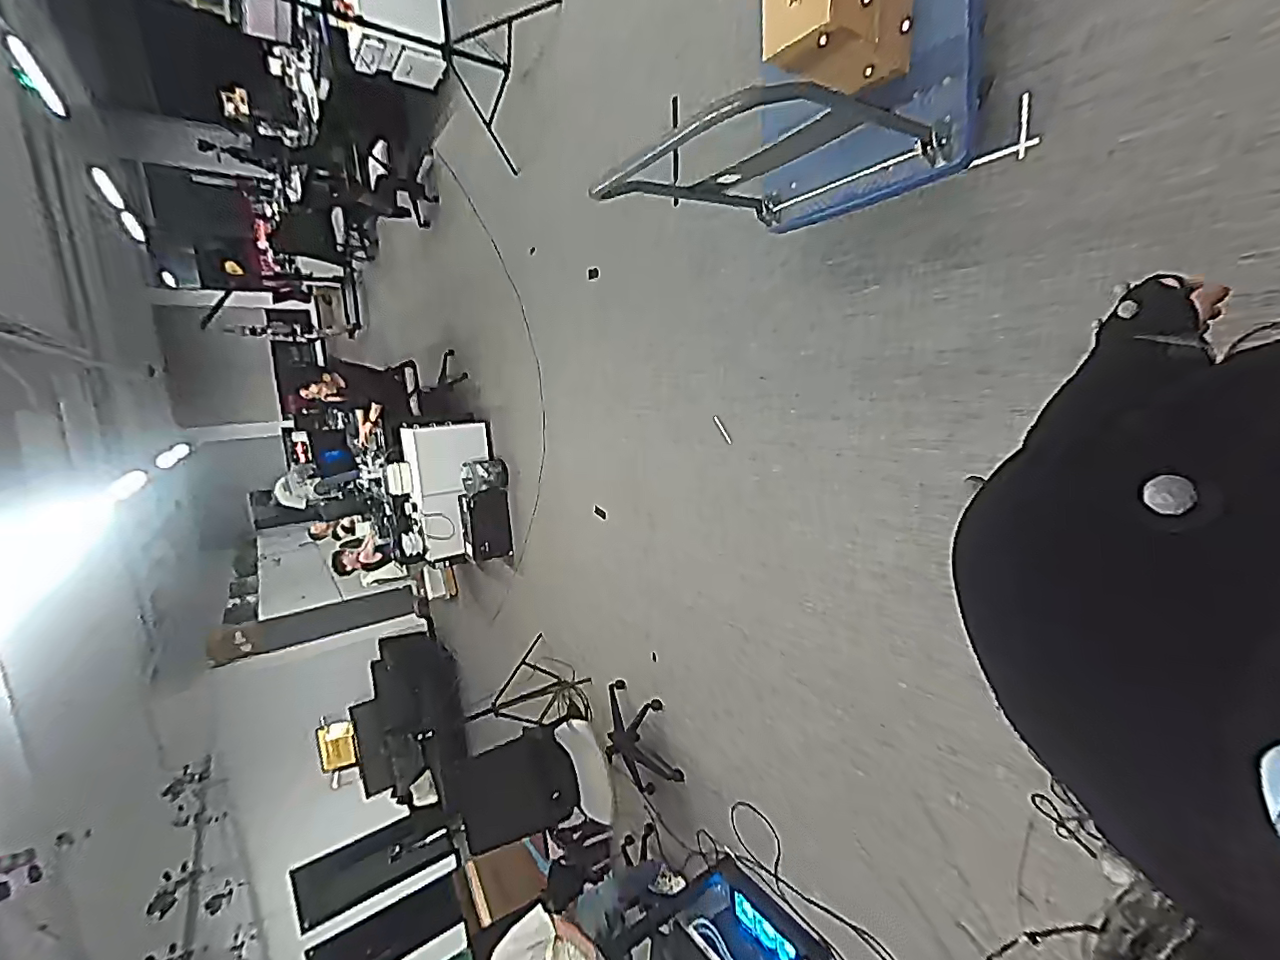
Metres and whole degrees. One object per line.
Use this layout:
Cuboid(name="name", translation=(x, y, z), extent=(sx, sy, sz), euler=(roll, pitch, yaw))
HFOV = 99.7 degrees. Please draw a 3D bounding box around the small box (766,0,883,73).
Cuboid(name="small box", translation=(0.387, -1.004, 1.141), extent=(0.179, 0.176, 0.168), euler=(11, 108, 52))
